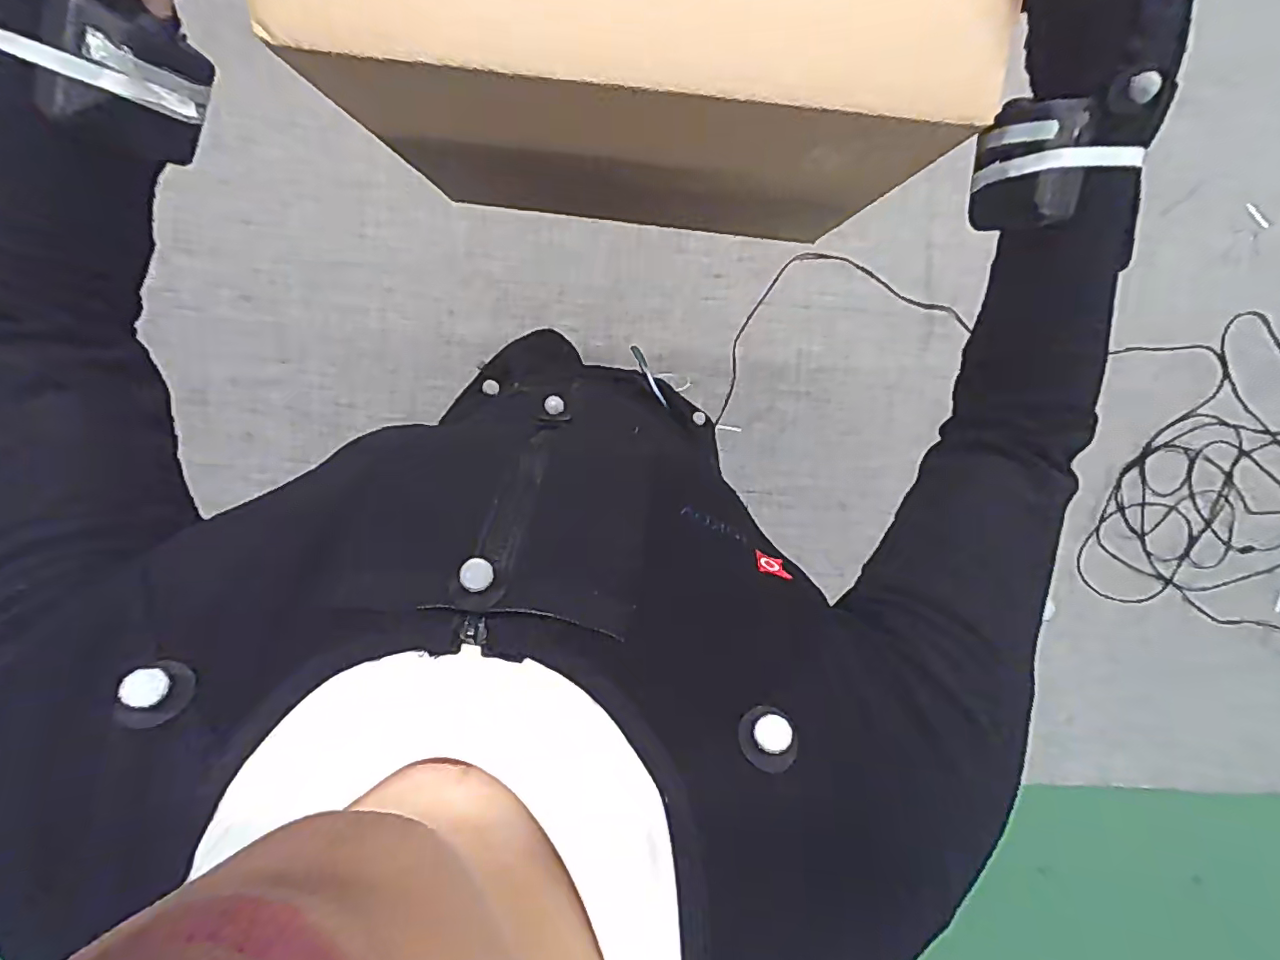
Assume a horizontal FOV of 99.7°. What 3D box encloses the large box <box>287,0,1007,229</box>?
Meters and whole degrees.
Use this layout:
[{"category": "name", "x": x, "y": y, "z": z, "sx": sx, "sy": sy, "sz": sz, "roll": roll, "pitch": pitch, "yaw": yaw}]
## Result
[{"category": "large box", "x": 0.013, "y": -0.407, "z": 0.418, "sx": 0.408, "sy": 0.320, "sz": 0.320, "roll": 5, "pitch": 103, "yaw": -1}]
